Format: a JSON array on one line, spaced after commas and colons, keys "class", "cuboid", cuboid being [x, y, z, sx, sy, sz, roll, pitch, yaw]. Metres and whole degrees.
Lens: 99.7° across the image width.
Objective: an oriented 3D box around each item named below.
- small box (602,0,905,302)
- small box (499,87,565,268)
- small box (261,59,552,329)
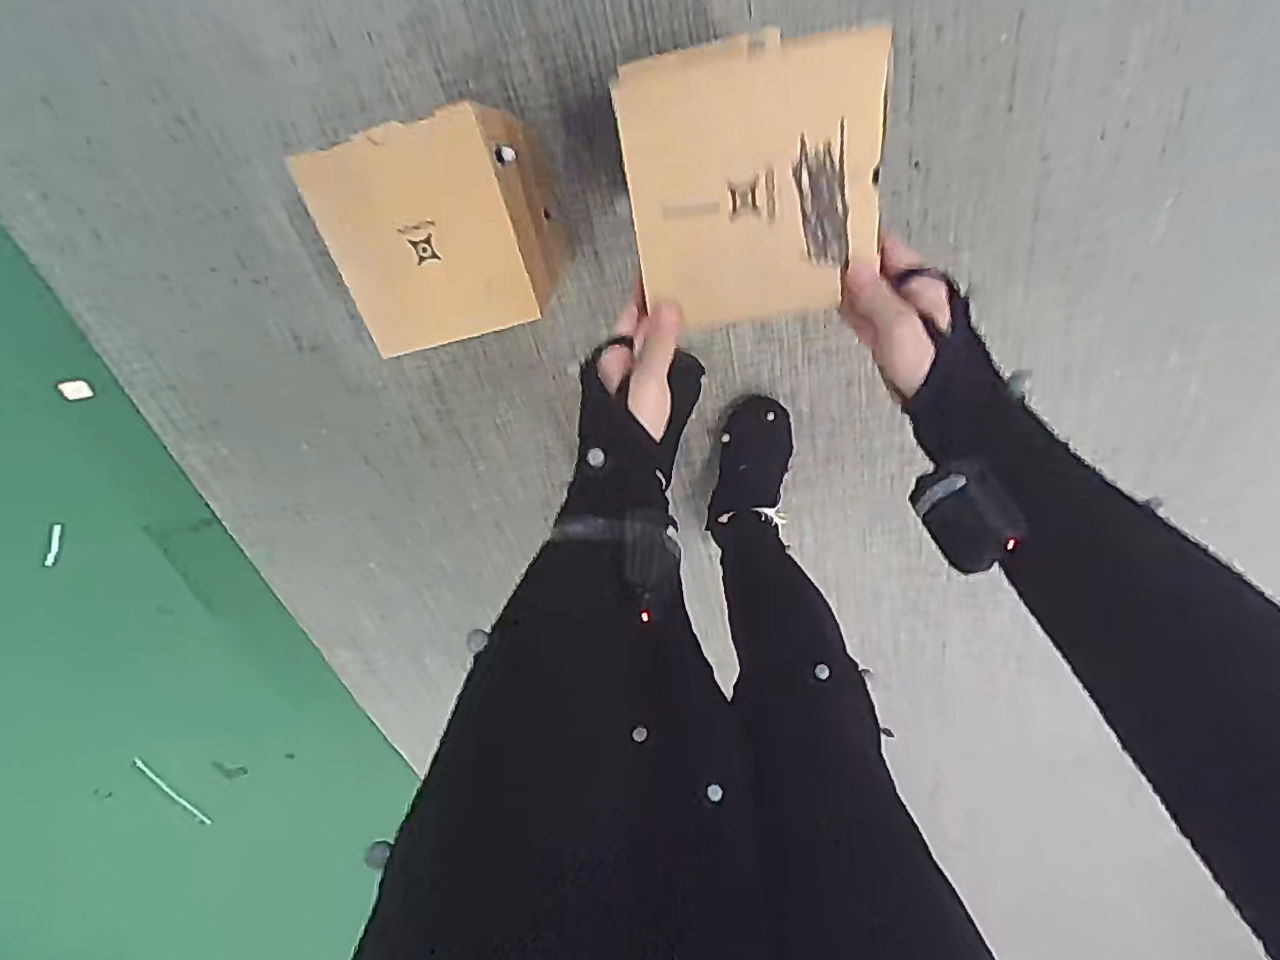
[{"class": "small box", "cuboid": [0.075, -0.250, 0.414, 0.179, 0.176, 0.168, -6, 121, 6]}, {"class": "small box", "cuboid": [-0.195, -0.351, 0.655, 0.168, 0.176, 0.179, -9, 121, 5]}, {"class": "small box", "cuboid": [-0.193, -0.266, 0.516, 0.168, 0.176, 0.179, -10, 120, 8]}]
